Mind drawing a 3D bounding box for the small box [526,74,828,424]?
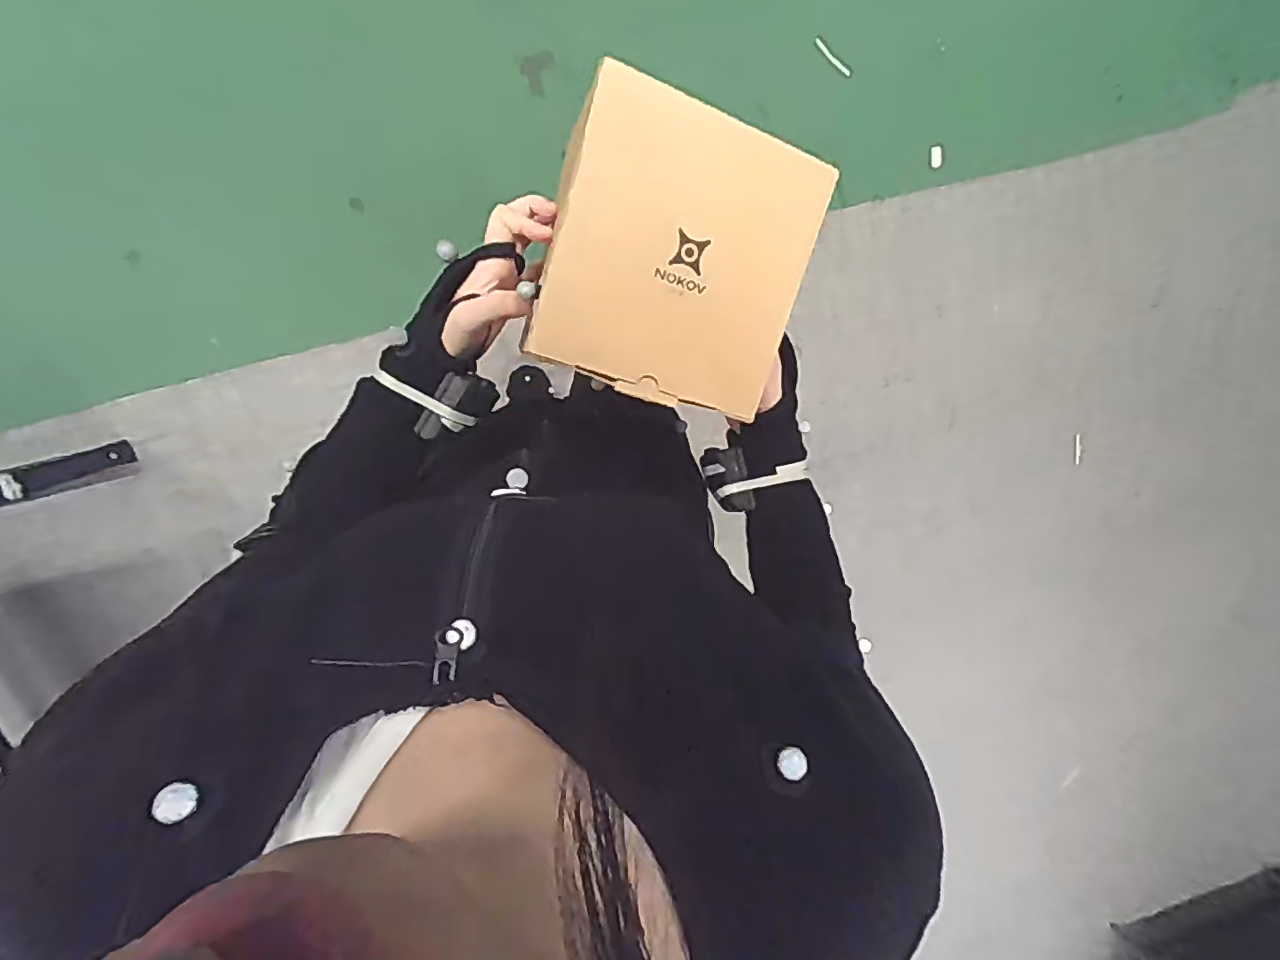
[{"bbox_3d":[0.010,-0.160,0.430,0.168,0.176,0.179,14,101,-18],"label":"small box"}]
